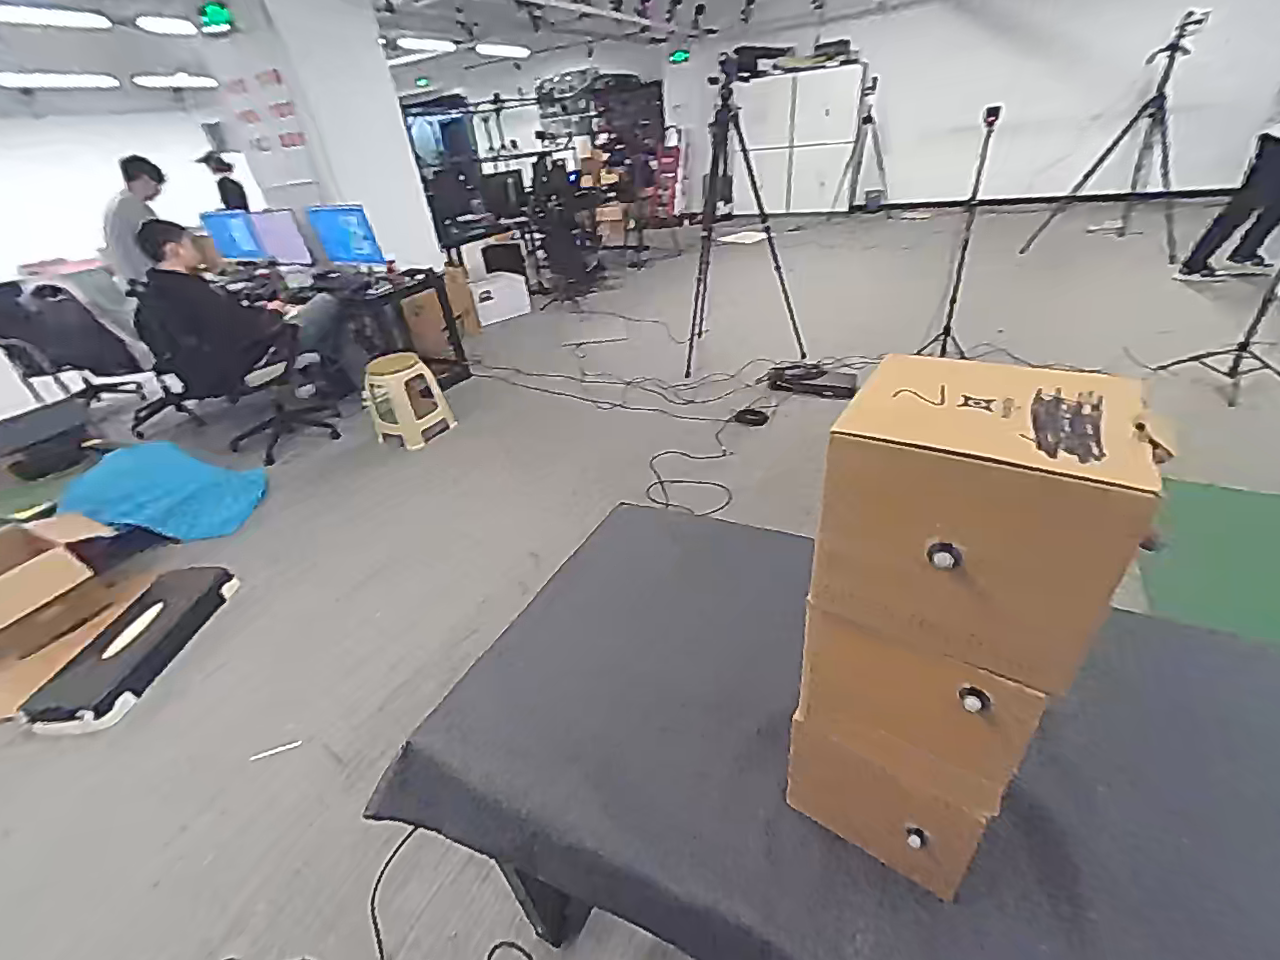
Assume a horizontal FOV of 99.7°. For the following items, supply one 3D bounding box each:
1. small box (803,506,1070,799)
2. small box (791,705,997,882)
[{"bbox_3d":[0.268,0.154,0.511,0.179,0.176,0.168,18,39,32],"label":"small box"},{"bbox_3d":[0.281,0.293,0.595,0.179,0.176,0.168,17,38,33],"label":"small box"}]
